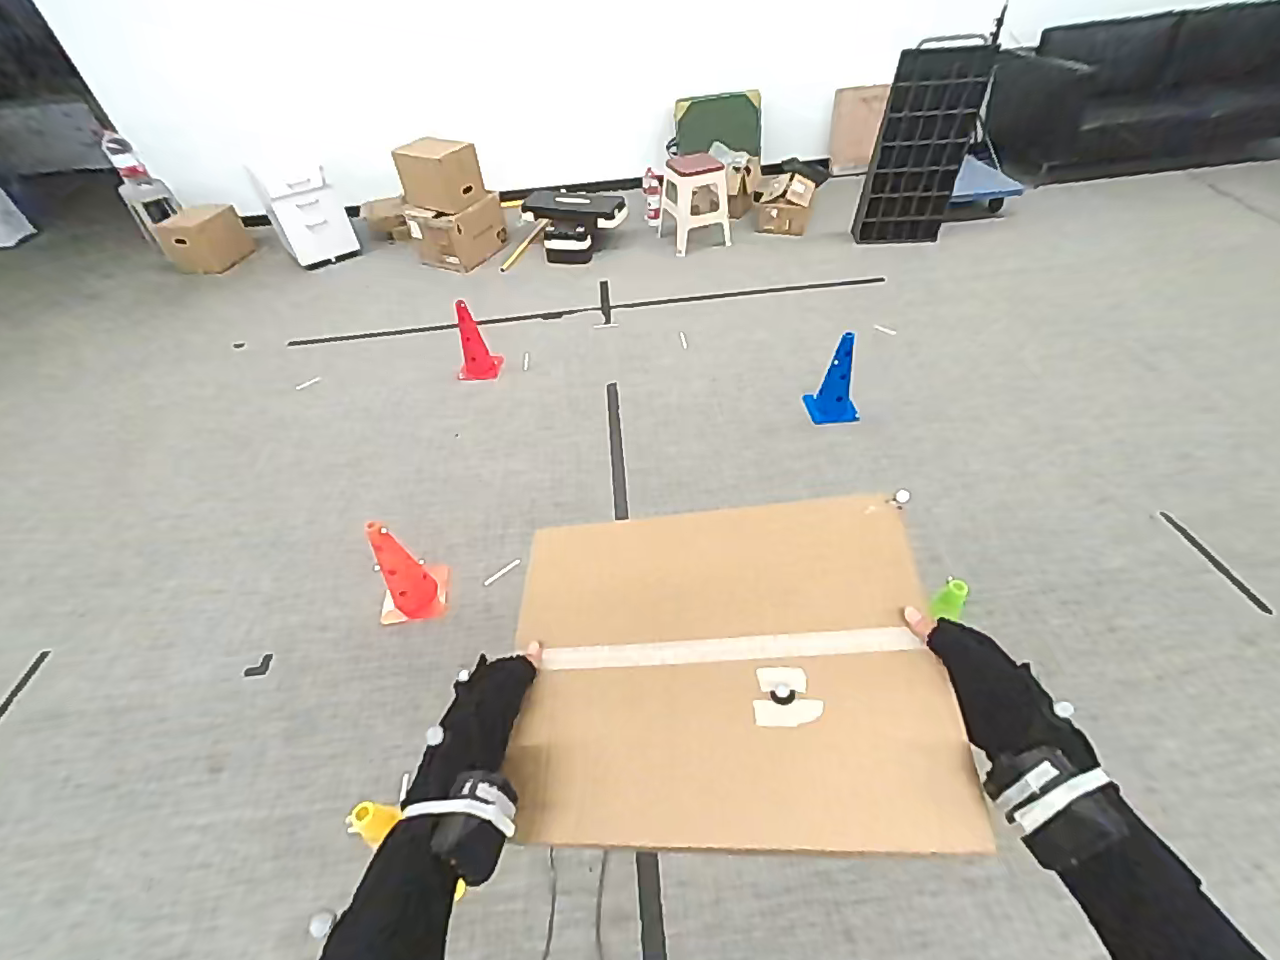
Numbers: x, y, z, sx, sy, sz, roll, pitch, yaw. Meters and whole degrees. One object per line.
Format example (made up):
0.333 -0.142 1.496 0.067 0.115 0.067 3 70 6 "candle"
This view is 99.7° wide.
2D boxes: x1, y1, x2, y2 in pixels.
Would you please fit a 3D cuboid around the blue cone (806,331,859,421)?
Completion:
0.814 -0.430 2.203 0.192 0.380 0.193 -3 46 0 "blue cone"

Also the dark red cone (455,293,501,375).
-0.800 -0.688 2.547 0.201 0.394 0.202 -2 46 2 "dark red cone"

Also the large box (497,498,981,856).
0.098 0.253 0.644 0.408 0.320 0.320 -7 54 11 "large box"

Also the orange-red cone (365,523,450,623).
-0.745 0.256 1.654 0.198 0.360 0.199 -9 47 -2 "orange-red cone"
